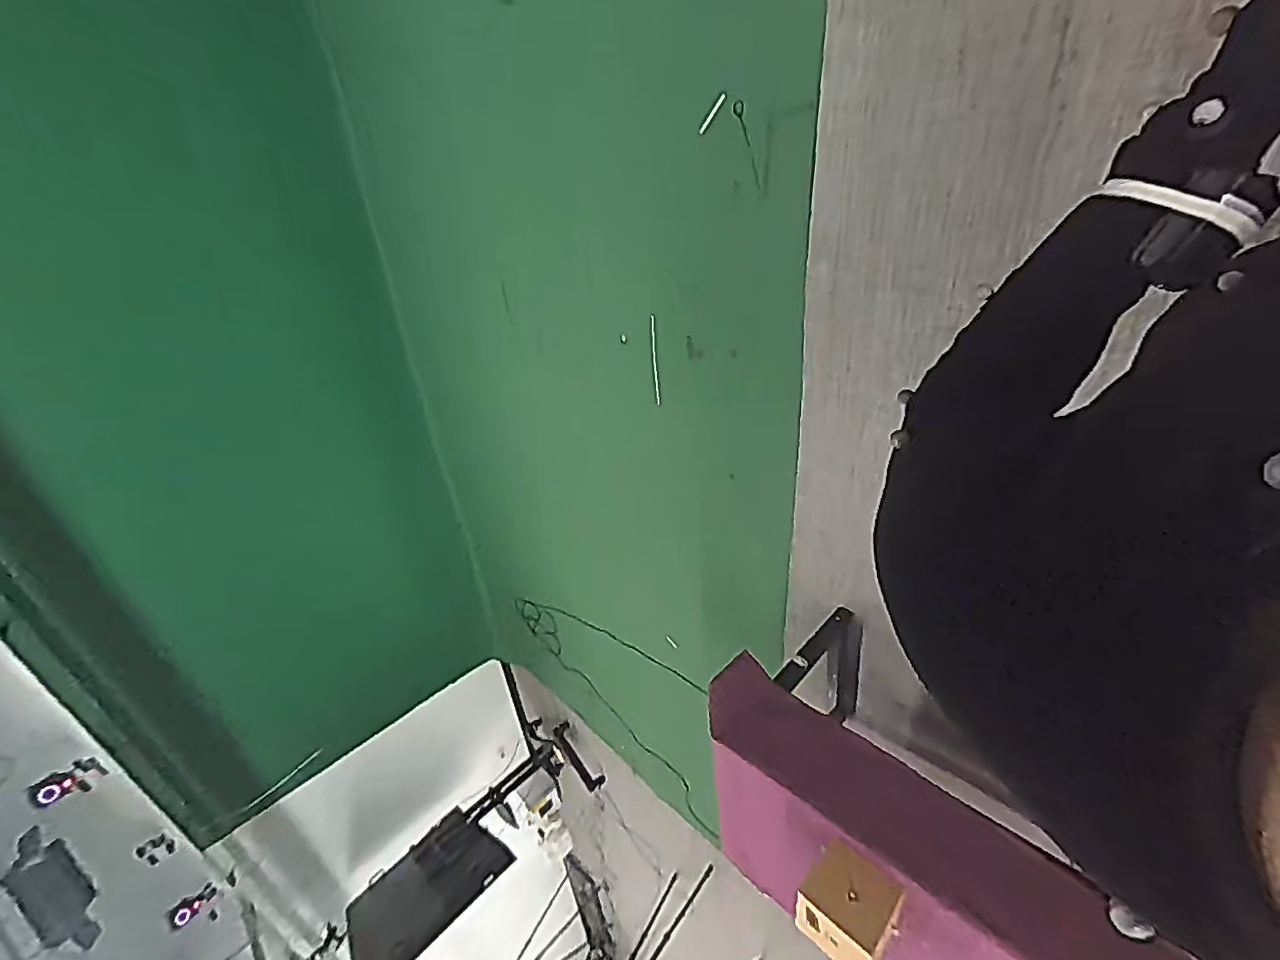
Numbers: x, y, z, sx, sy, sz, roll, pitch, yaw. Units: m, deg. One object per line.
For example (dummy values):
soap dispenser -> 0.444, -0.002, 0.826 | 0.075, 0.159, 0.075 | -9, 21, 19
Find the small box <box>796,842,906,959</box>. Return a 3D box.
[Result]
small box -> 0.487, 0.988, 1.256 | 0.179, 0.176, 0.168 | 22, 130, 40
